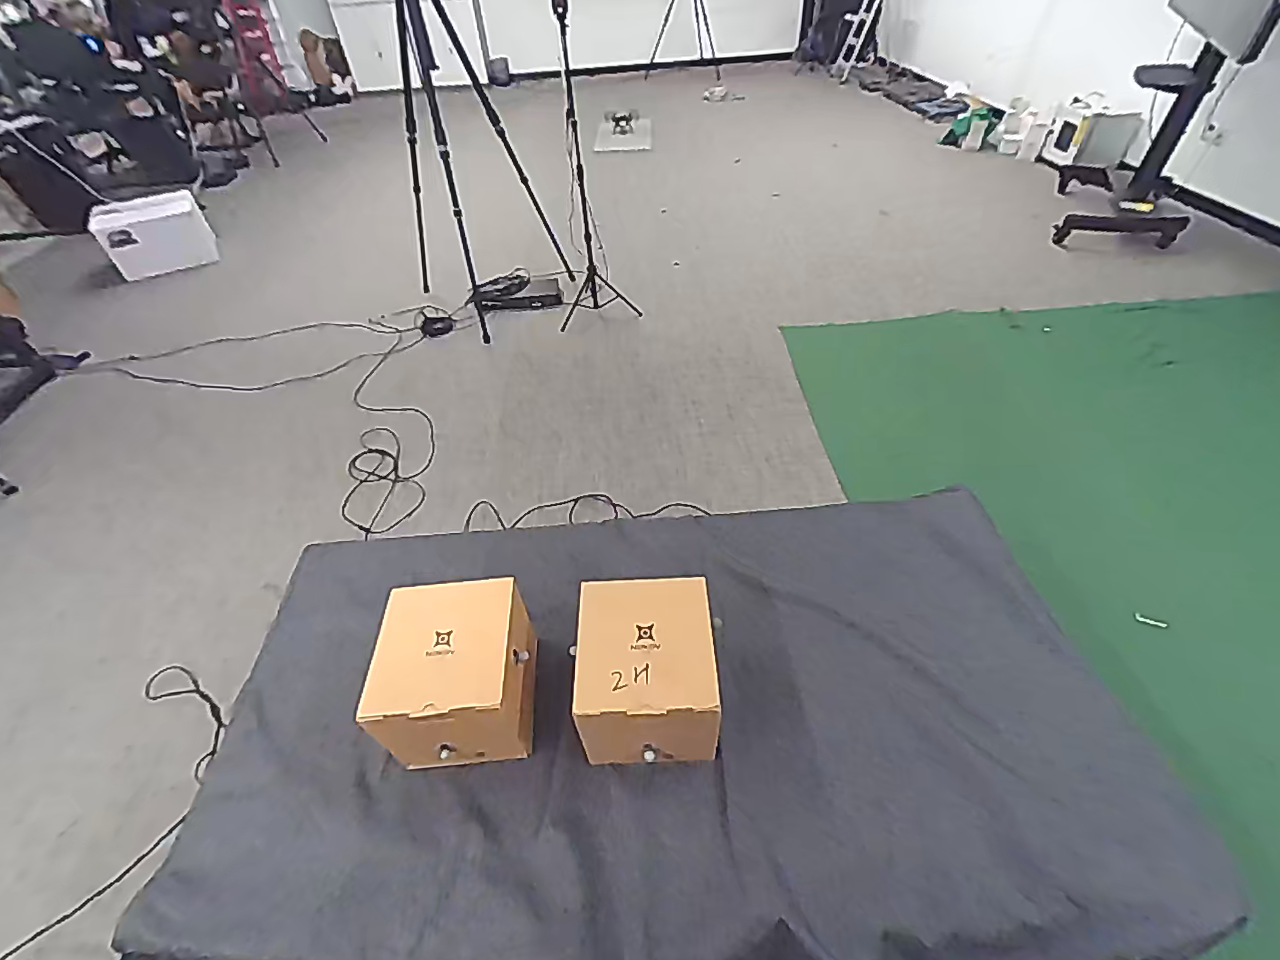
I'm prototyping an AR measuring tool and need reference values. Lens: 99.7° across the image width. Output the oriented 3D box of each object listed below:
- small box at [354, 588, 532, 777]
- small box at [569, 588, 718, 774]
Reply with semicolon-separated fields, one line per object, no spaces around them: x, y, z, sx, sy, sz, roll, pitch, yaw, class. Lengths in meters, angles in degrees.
-0.241;0.268;0.717;0.168;0.176;0.179;-5;45;-2;small box
0.006;0.261;0.704;0.168;0.176;0.179;-2;45;2;small box
